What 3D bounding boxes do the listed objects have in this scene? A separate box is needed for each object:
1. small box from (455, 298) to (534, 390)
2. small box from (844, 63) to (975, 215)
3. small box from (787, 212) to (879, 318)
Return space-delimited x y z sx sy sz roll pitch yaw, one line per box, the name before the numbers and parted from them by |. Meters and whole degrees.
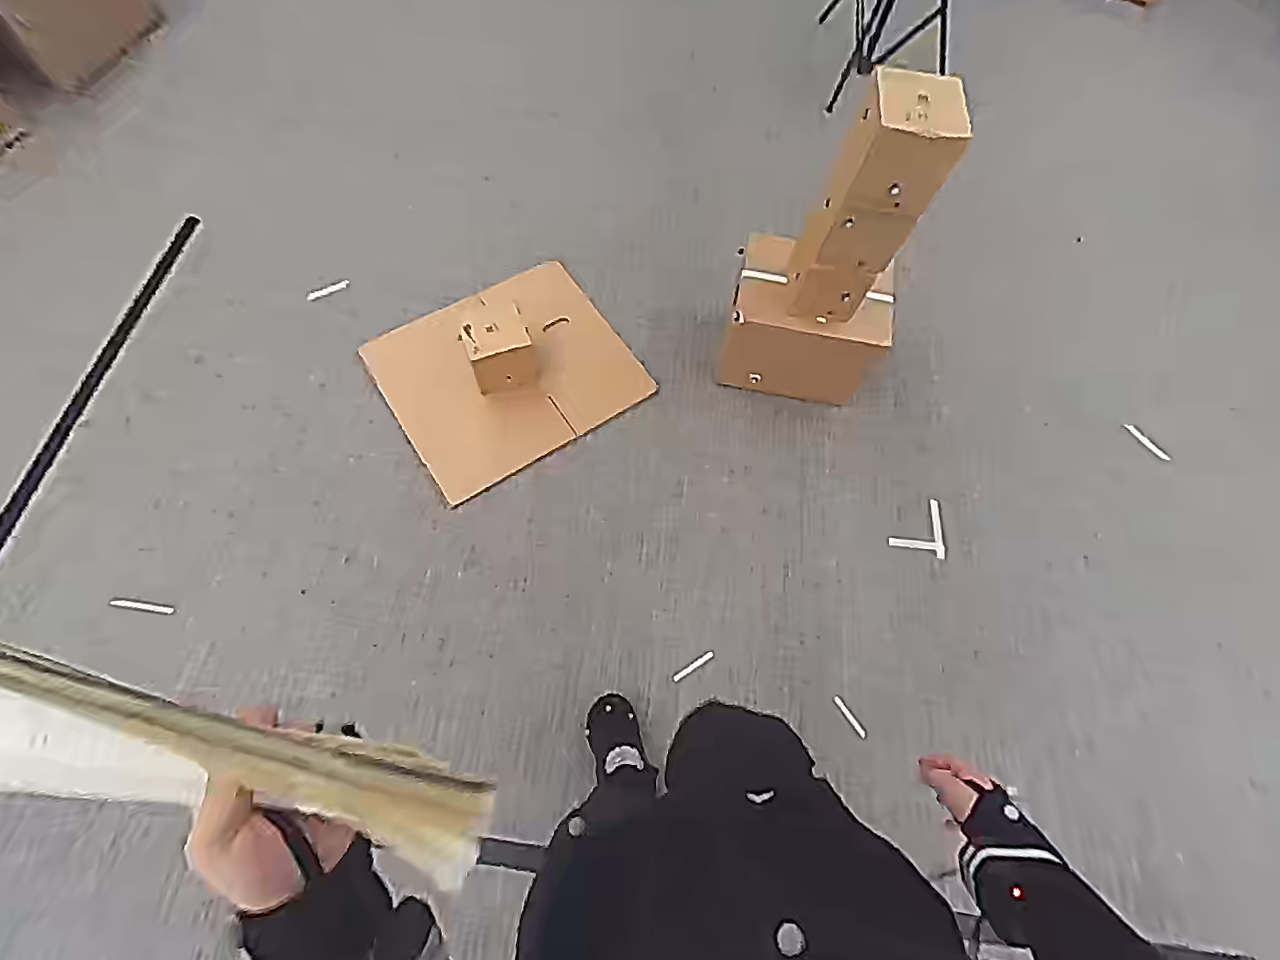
small box | -0.409 -0.384 1.546 0.179 0.176 0.168 -19 70 -14
small box | 0.506 -0.651 1.043 0.168 0.176 0.179 8 68 -1
small box | 0.472 -0.528 1.347 0.168 0.176 0.179 6 67 -3
